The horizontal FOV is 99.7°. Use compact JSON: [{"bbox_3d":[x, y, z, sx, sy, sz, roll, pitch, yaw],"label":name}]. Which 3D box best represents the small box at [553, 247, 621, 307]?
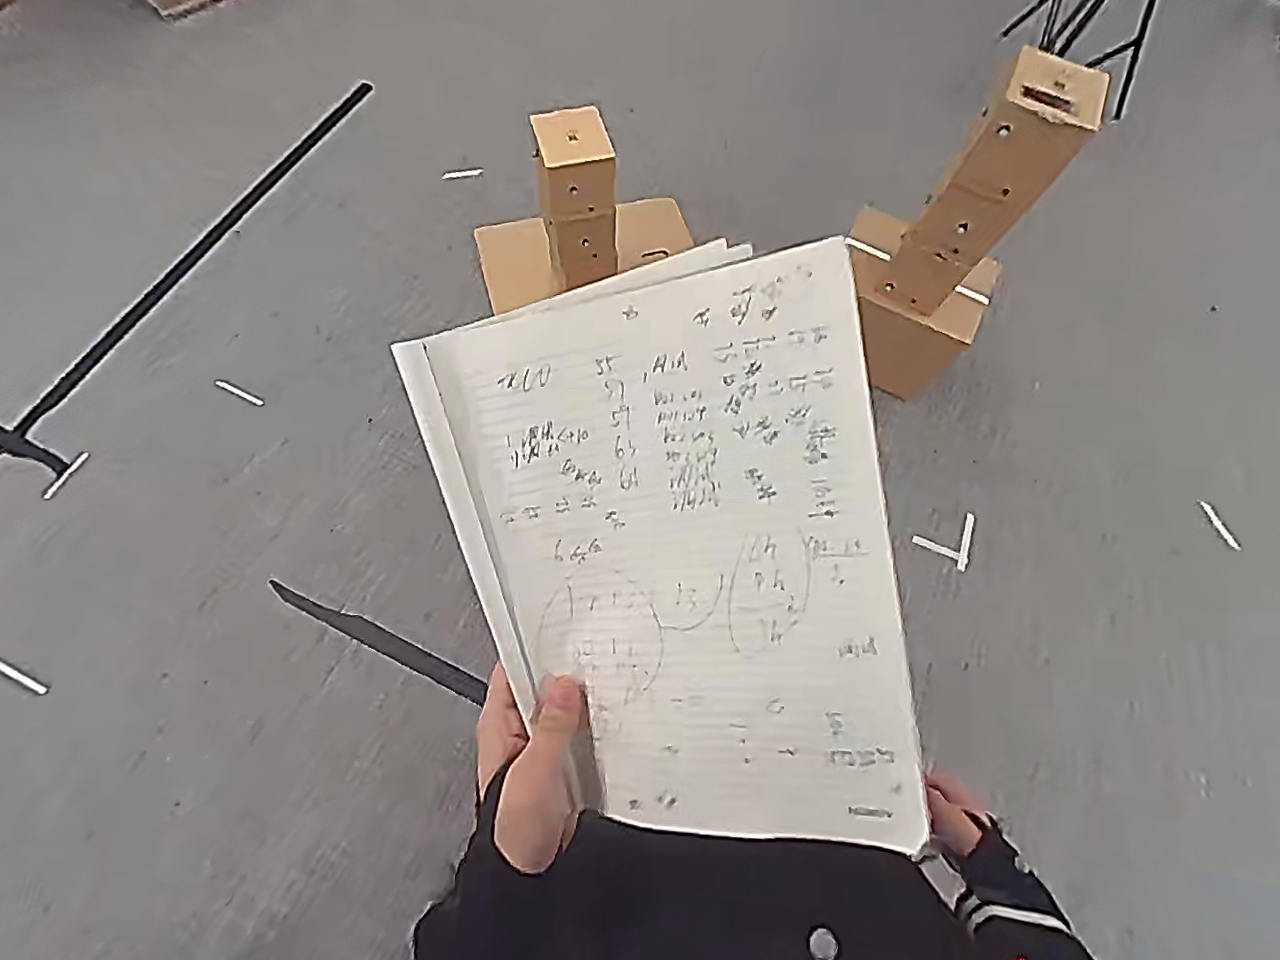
[{"bbox_3d":[-0.167,-0.661,1.647,0.168,0.176,0.179,-19,73,-10],"label":"small box"}]

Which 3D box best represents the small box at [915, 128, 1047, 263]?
[{"bbox_3d":[0.742,-0.618,1.195,0.168,0.176,0.179,27,71,6],"label":"small box"}]

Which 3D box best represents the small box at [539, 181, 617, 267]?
[{"bbox_3d":[-0.168,-0.712,1.490,0.168,0.176,0.179,-17,71,-11],"label":"small box"}]

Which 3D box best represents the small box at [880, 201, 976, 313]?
[{"bbox_3d":[0.728,-0.553,1.345,0.168,0.176,0.179,29,70,7],"label":"small box"}]

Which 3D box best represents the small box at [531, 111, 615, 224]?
[{"bbox_3d":[-0.160,-0.760,1.335,0.168,0.176,0.179,-16,71,-9],"label":"small box"}]
